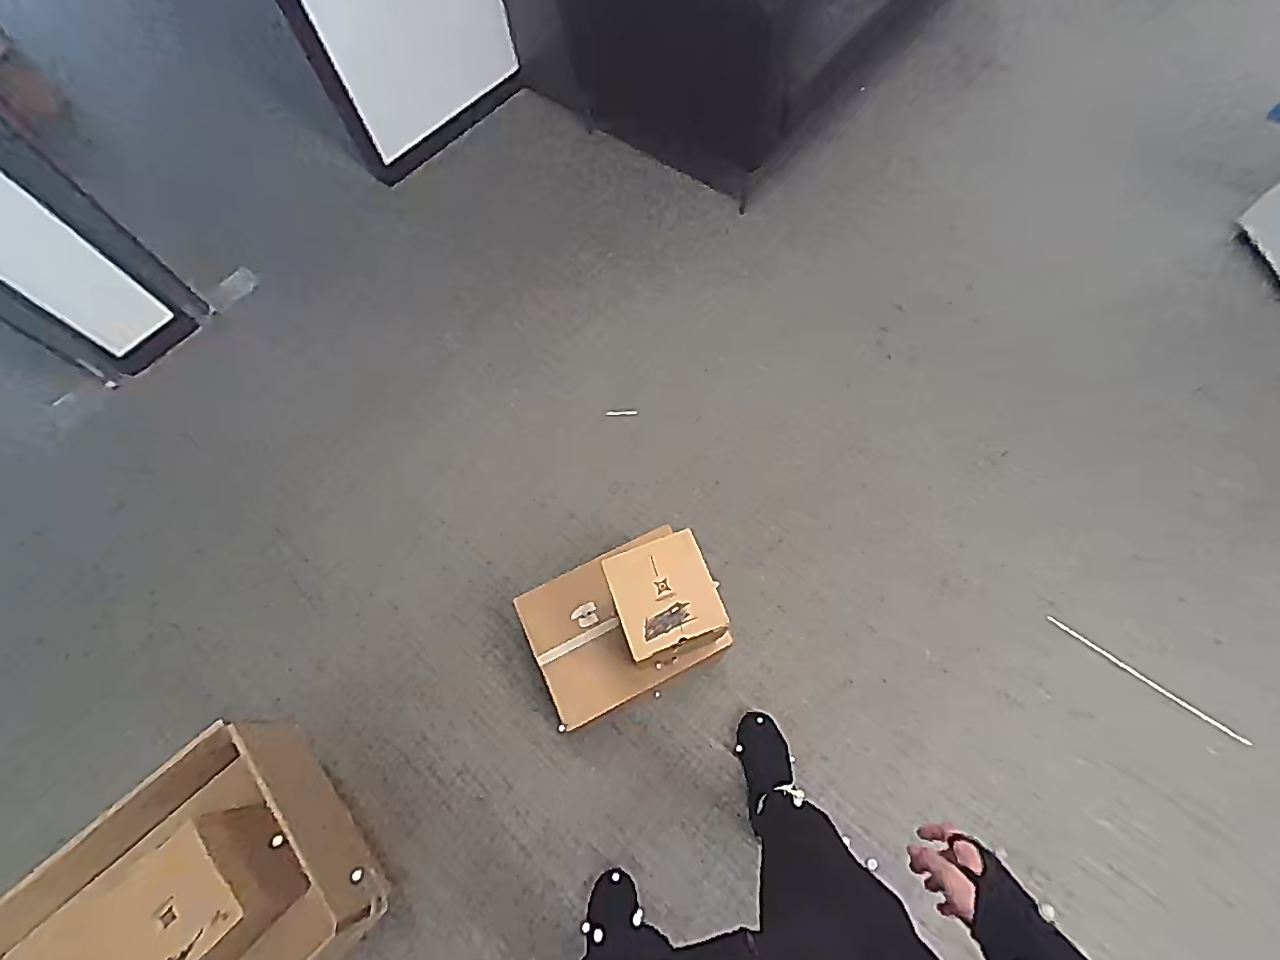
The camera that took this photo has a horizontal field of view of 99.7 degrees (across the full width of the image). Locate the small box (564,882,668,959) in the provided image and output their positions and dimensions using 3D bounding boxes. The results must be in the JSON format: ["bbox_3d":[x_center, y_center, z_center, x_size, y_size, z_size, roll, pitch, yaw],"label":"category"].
[{"bbox_3d":[-0.048,1.006,1.158,0.168,0.176,0.179,20,56,22],"label":"small box"}]

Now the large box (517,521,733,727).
[{"bbox_3d":[-0.030,0.360,1.338,0.408,0.320,0.320,-26,67,-7],"label":"large box"}]

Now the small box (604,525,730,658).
[{"bbox_3d":[0.047,0.204,0.955,0.168,0.176,0.179,-19,68,-5],"label":"small box"}]
